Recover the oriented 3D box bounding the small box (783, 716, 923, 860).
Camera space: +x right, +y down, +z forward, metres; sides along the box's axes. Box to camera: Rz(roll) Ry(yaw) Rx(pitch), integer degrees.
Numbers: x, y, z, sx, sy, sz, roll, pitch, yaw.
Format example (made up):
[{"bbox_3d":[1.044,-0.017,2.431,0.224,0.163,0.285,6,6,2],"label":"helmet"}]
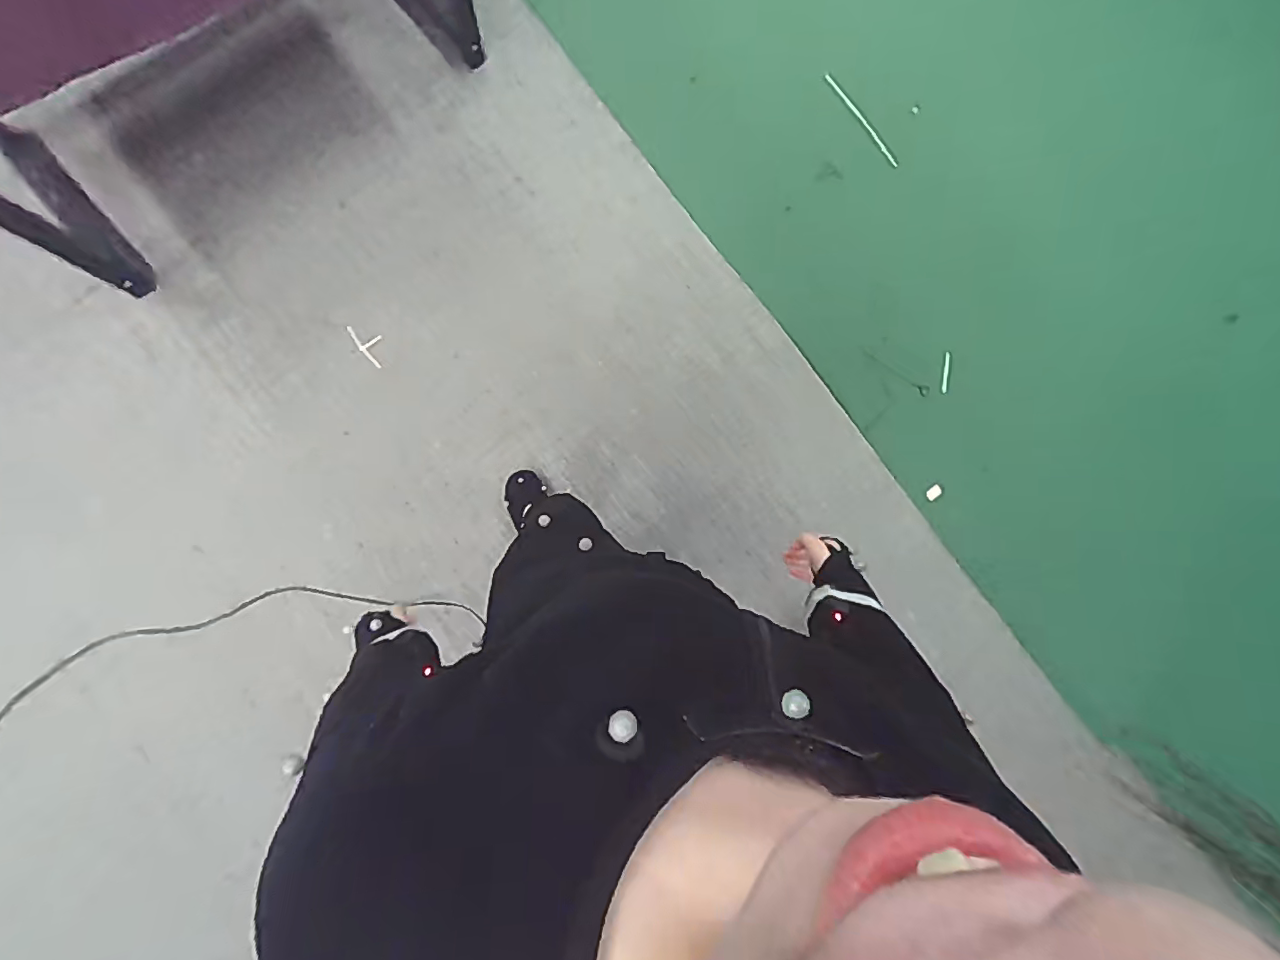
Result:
[{"bbox_3d":[0.428,0.618,1.119,0.168,0.176,0.179,-34,91,-8],"label":"small box"}]
